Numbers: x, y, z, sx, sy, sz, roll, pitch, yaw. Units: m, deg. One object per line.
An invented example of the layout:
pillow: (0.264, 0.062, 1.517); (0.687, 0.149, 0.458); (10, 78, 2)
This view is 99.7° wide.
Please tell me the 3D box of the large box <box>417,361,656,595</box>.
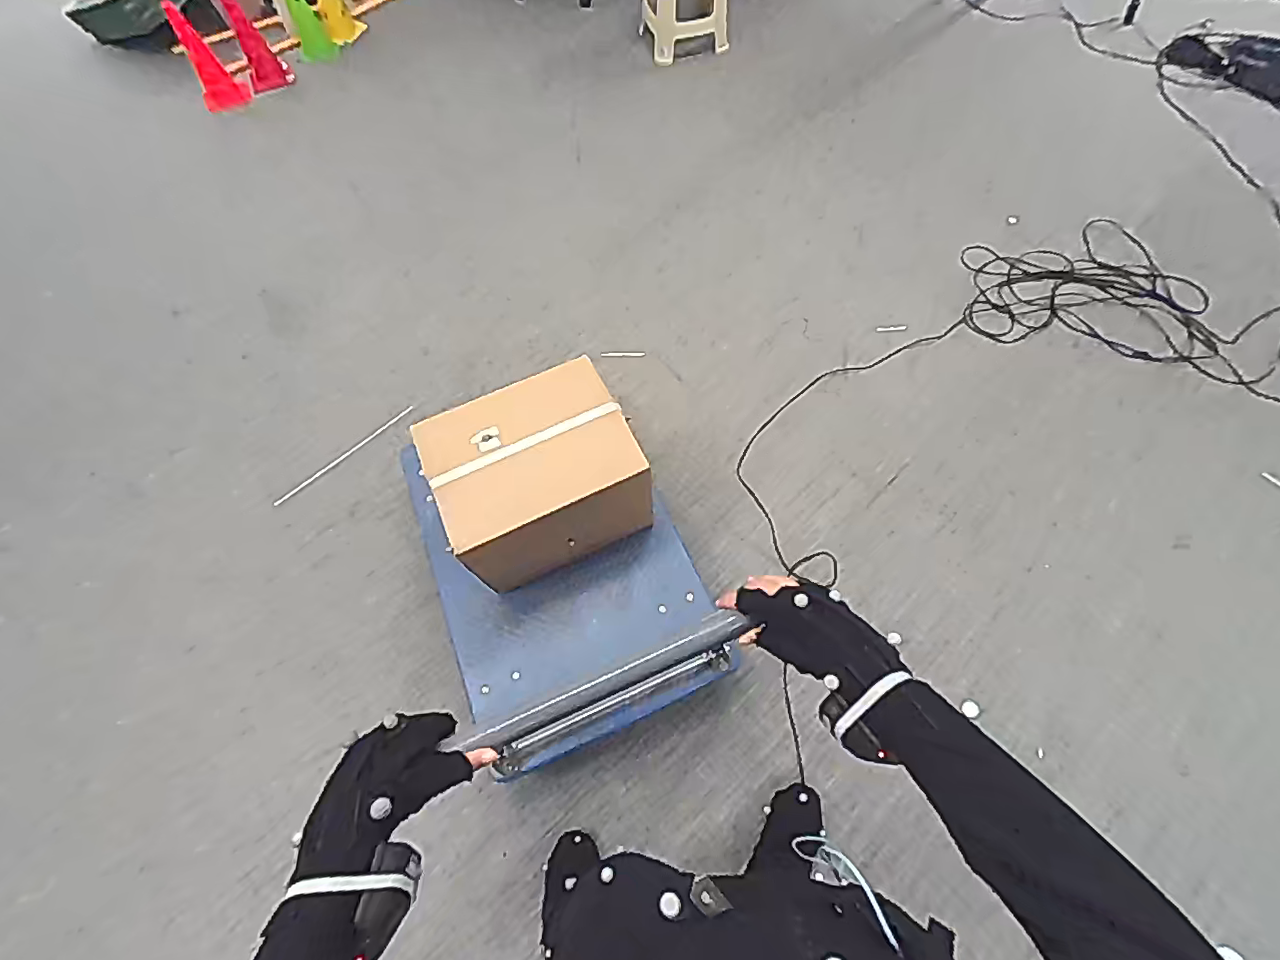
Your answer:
large box: (-0.210, 0.007, 1.223); (0.408, 0.320, 0.320); (-26, 66, -9)
